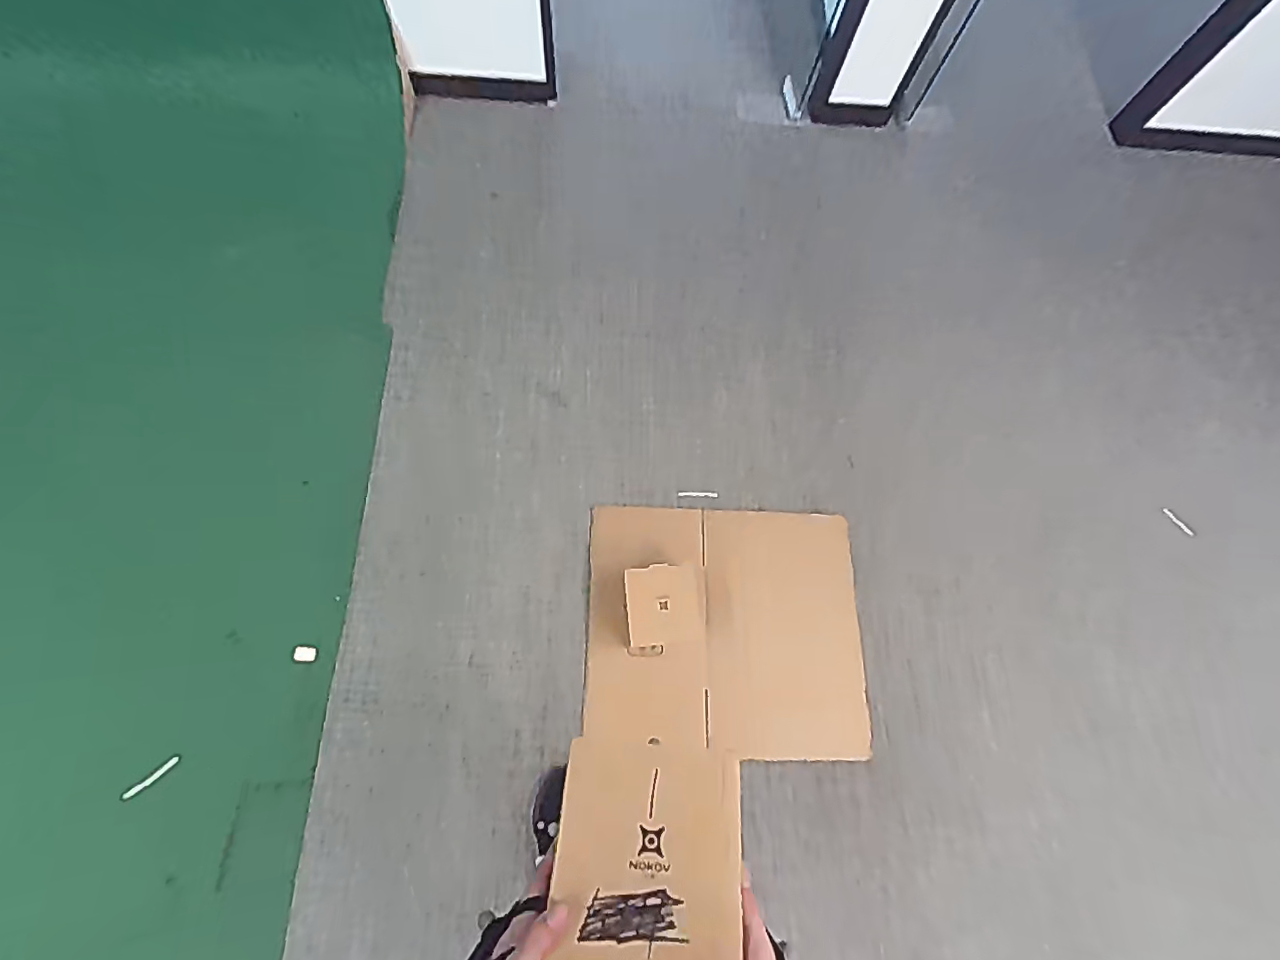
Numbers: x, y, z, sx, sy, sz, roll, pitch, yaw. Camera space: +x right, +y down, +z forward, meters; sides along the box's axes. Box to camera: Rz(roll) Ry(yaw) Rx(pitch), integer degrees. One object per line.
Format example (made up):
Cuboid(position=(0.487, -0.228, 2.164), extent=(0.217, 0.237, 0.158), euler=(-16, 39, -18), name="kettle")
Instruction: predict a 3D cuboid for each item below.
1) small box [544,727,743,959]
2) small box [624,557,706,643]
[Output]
Cuboid(position=(0.007, 0.361, 0.547), extent=(0.168, 0.176, 0.179), euler=(5, 59, 0), name="small box")
Cuboid(position=(0.053, 0.289, 1.281), extent=(0.168, 0.176, 0.179), euler=(-4, 73, -5), name="small box")
